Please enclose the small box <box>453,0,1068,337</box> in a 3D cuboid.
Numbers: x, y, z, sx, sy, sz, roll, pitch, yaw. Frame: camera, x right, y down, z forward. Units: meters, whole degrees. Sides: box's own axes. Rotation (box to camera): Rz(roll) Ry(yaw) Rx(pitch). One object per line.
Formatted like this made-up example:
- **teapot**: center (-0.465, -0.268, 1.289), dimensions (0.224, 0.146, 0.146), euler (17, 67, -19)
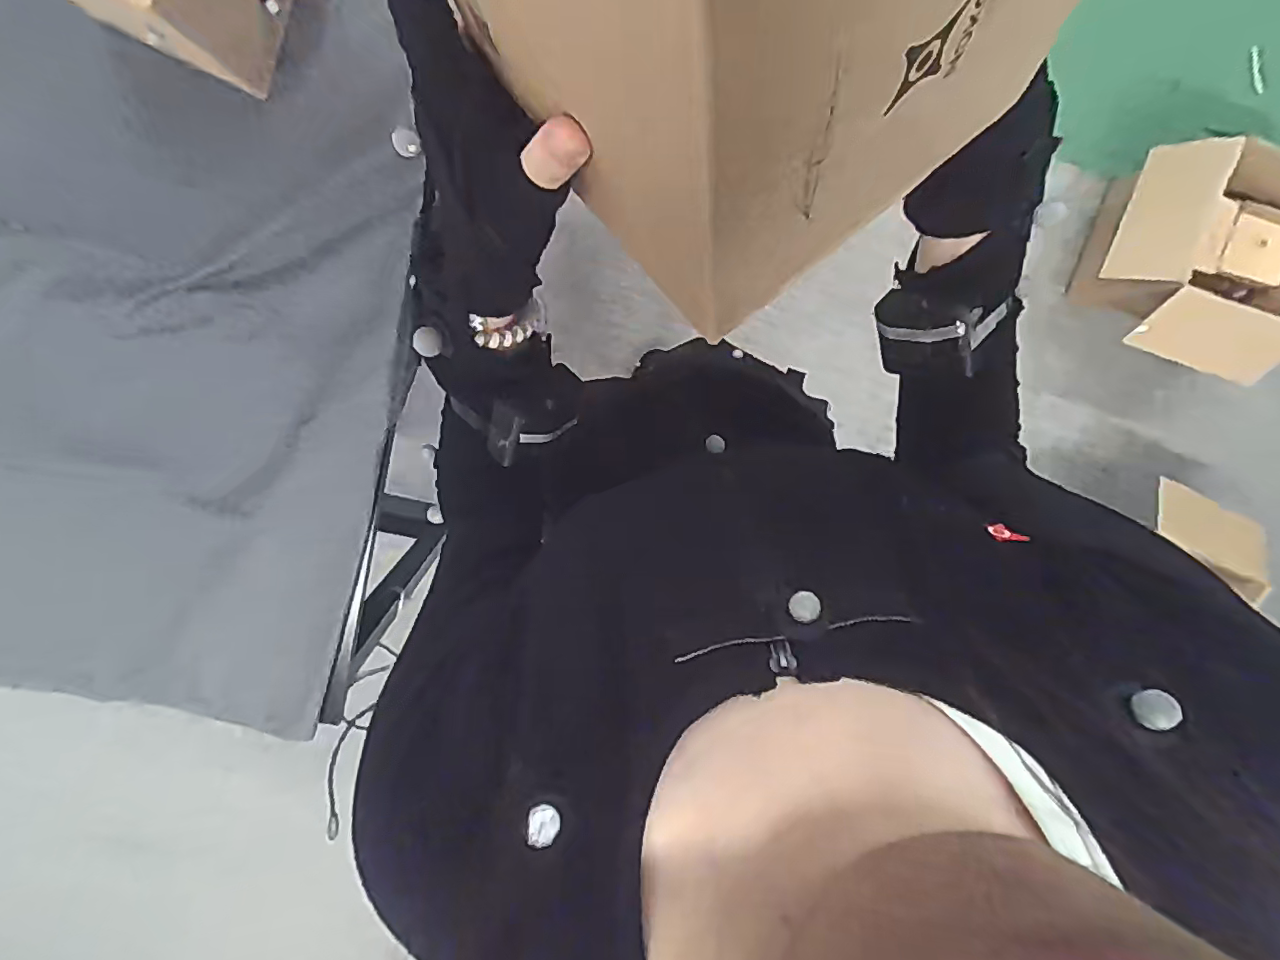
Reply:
- **small box**: center (0.038, -0.193, 0.184), dimensions (0.179, 0.168, 0.176), euler (-38, 76, 1)
